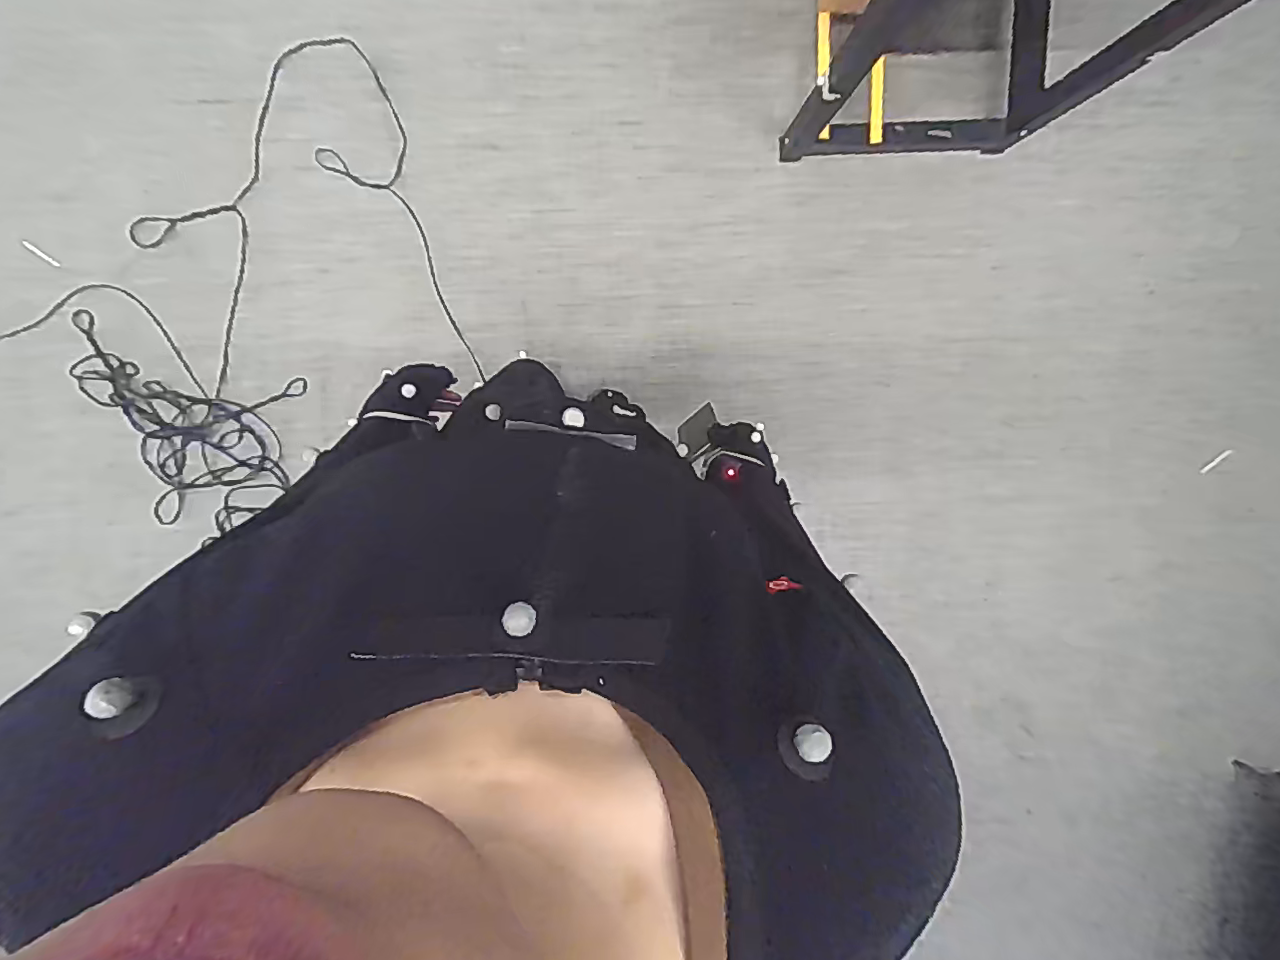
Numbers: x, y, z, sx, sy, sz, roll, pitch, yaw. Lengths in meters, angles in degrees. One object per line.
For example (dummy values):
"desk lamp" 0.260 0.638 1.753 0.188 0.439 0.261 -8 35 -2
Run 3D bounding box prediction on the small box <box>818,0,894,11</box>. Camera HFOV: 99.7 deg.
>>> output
"small box" 0.484 -1.121 1.121 0.179 0.176 0.168 0 100 -2
